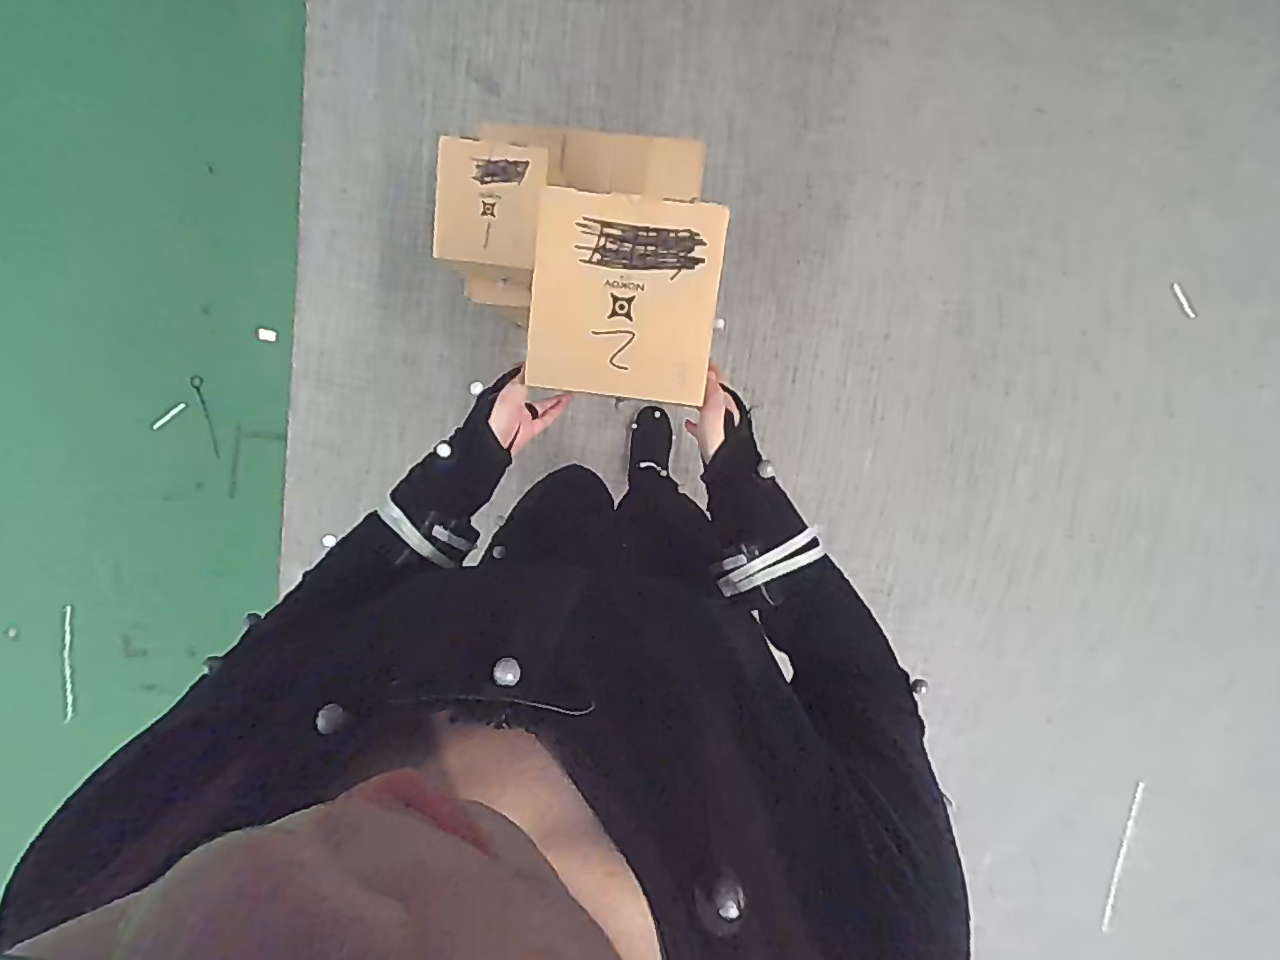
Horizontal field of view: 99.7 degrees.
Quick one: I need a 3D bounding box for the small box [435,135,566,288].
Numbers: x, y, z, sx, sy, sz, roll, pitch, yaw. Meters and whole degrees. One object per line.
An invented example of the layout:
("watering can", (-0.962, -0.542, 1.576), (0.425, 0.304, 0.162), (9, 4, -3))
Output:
("small box", (-0.221, -0.432, 0.897), (0.168, 0.176, 0.179), (8, 101, 1))
